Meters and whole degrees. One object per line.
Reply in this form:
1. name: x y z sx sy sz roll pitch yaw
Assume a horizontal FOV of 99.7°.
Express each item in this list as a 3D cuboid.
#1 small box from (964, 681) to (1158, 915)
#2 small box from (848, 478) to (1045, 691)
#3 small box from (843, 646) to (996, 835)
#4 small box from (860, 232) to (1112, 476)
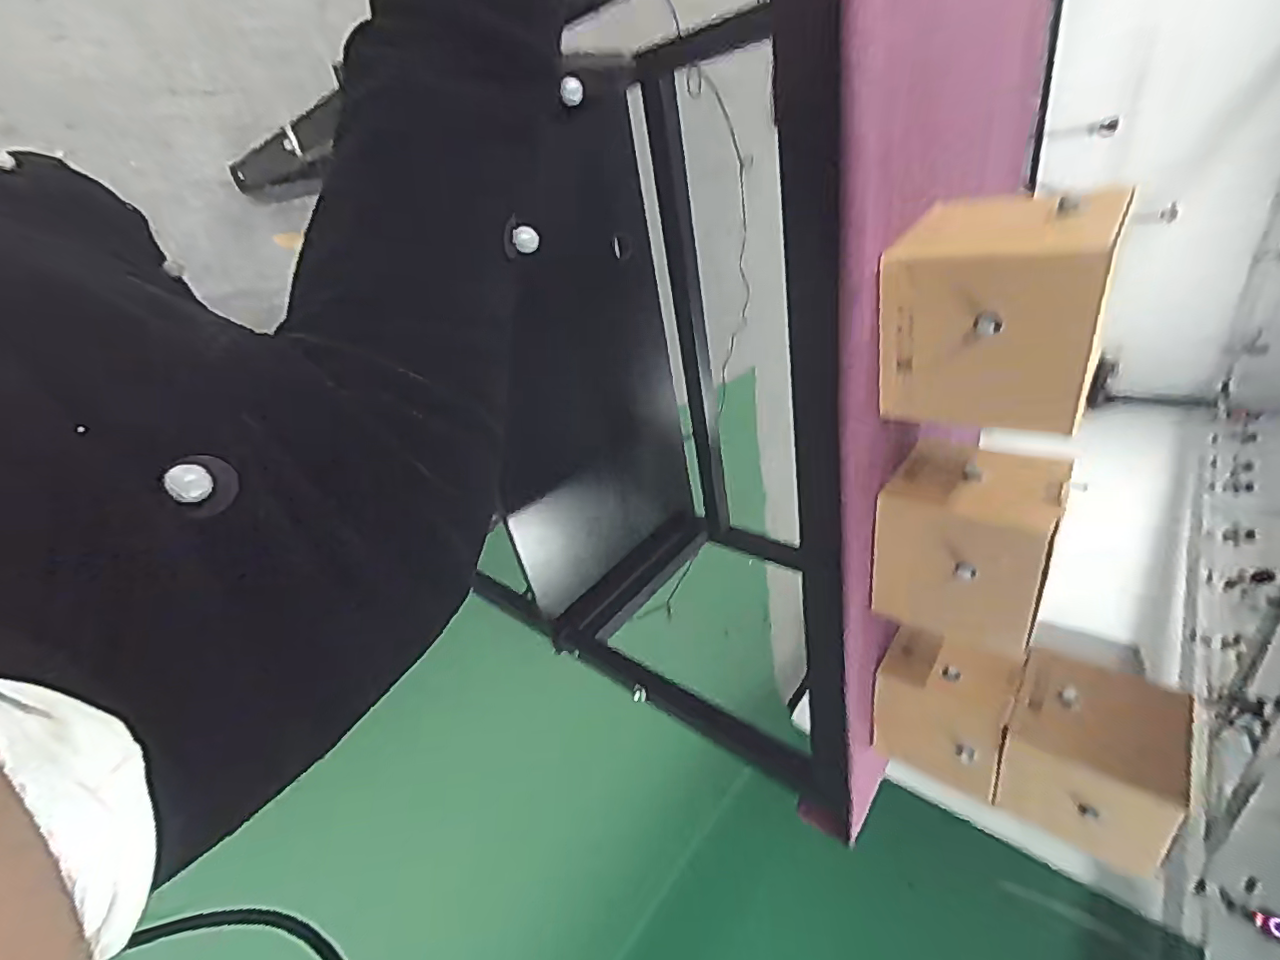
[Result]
1. small box: 0.542 0.402 0.711 0.168 0.176 0.179 -39 128 -37
2. small box: 0.365 0.109 0.656 0.168 0.176 0.179 -34 126 -40
3. small box: 0.418 0.370 0.814 0.168 0.176 0.179 -32 125 -41
4. small box: 0.326 -0.127 0.527 0.179 0.176 0.168 -42 132 -36
